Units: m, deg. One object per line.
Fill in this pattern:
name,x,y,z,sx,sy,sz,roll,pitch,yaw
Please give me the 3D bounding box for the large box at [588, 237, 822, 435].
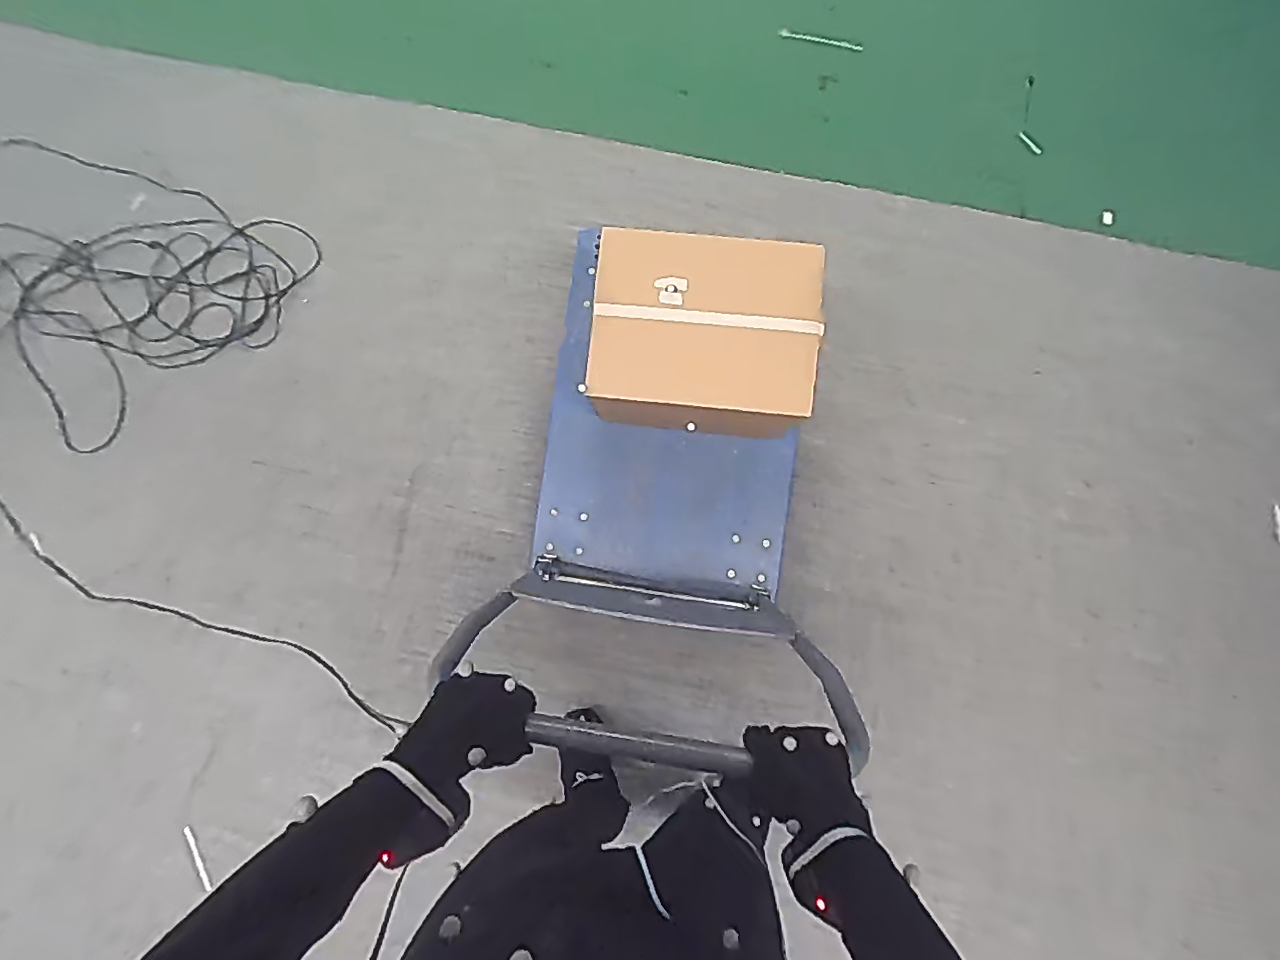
large box,0.125,-0.270,1.108,0.408,0.320,0.320,5,87,3
